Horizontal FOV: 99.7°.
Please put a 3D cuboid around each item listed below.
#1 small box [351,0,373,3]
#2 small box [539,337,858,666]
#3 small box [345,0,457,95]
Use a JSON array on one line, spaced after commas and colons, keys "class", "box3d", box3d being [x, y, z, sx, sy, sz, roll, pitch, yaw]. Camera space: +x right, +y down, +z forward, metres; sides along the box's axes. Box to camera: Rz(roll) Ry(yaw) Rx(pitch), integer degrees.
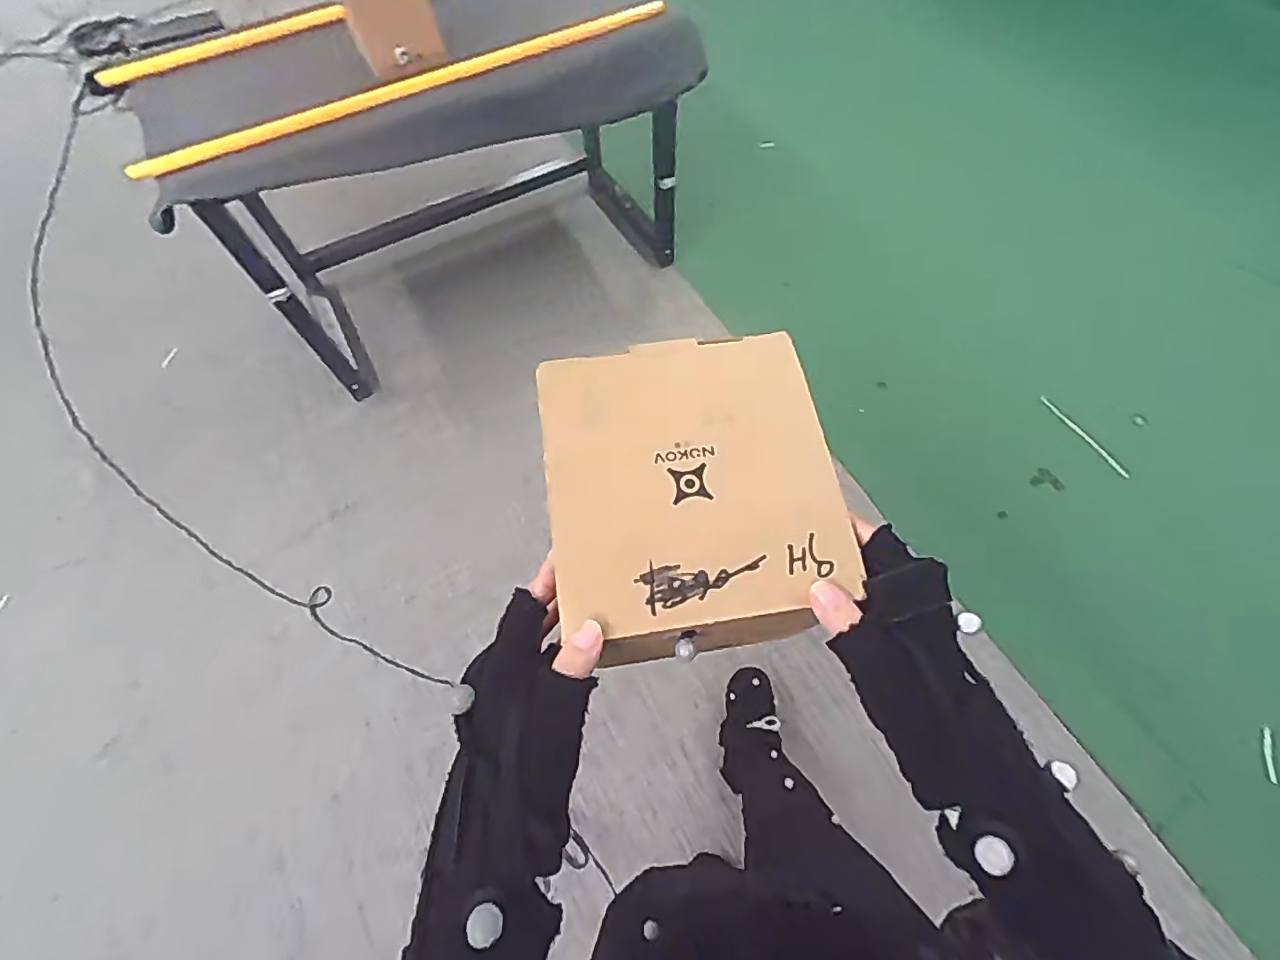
[{"class": "small box", "box3d": [-0.548, -1.092, 1.070, 0.168, 0.176, 0.179, -25, 64, -9]}, {"class": "small box", "box3d": [0.026, 0.026, 0.393, 0.168, 0.176, 0.179, -9, 66, -2]}, {"class": "small box", "box3d": [-0.539, -1.010, 1.212, 0.168, 0.176, 0.179, -29, 65, -11]}]
